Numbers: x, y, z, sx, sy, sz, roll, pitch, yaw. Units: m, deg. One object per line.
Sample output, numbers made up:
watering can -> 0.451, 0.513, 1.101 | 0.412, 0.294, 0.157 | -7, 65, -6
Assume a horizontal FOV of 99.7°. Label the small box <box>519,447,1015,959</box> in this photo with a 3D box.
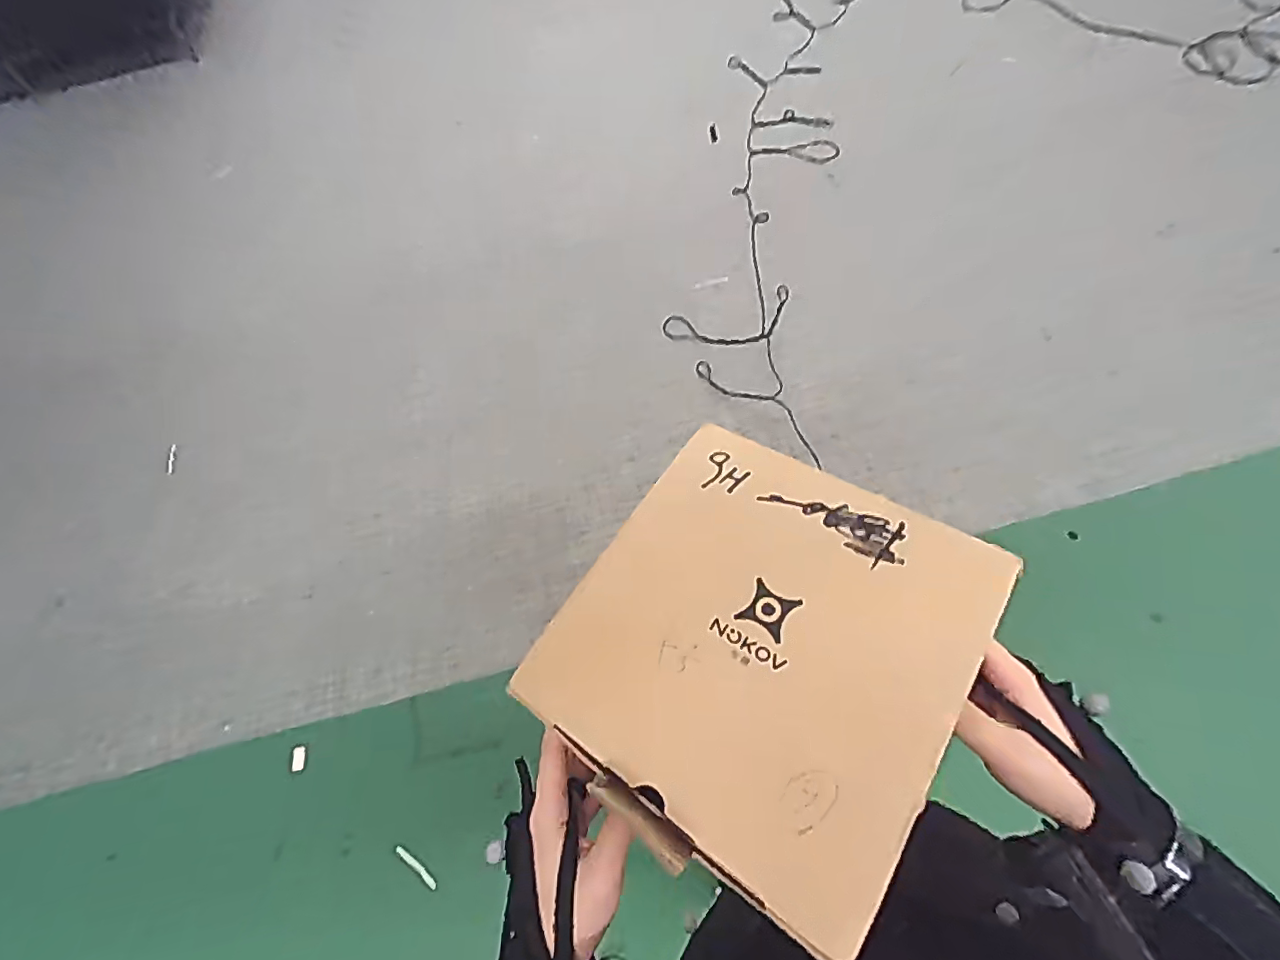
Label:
small box -> 0.070, 0.119, 0.313 | 0.168, 0.176, 0.179 | 28, 68, 27
